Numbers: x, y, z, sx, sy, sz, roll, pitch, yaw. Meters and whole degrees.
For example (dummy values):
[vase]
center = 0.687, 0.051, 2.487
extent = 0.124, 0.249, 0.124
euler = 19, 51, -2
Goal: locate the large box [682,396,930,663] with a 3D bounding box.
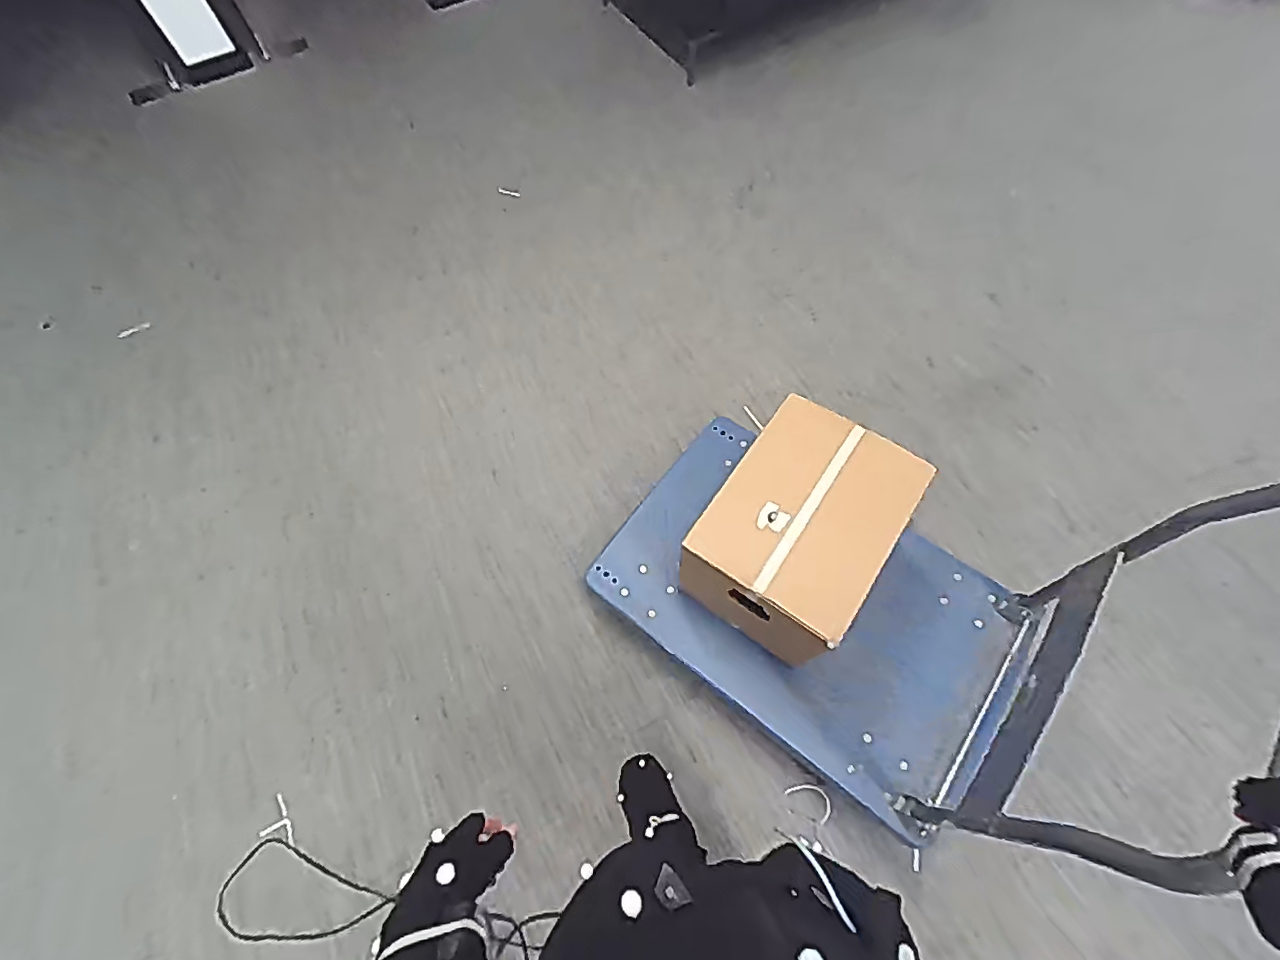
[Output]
[large box]
center = 0.322, 0.113, 1.133
extent = 0.320, 0.320, 0.408
euler = 32, 71, 17
